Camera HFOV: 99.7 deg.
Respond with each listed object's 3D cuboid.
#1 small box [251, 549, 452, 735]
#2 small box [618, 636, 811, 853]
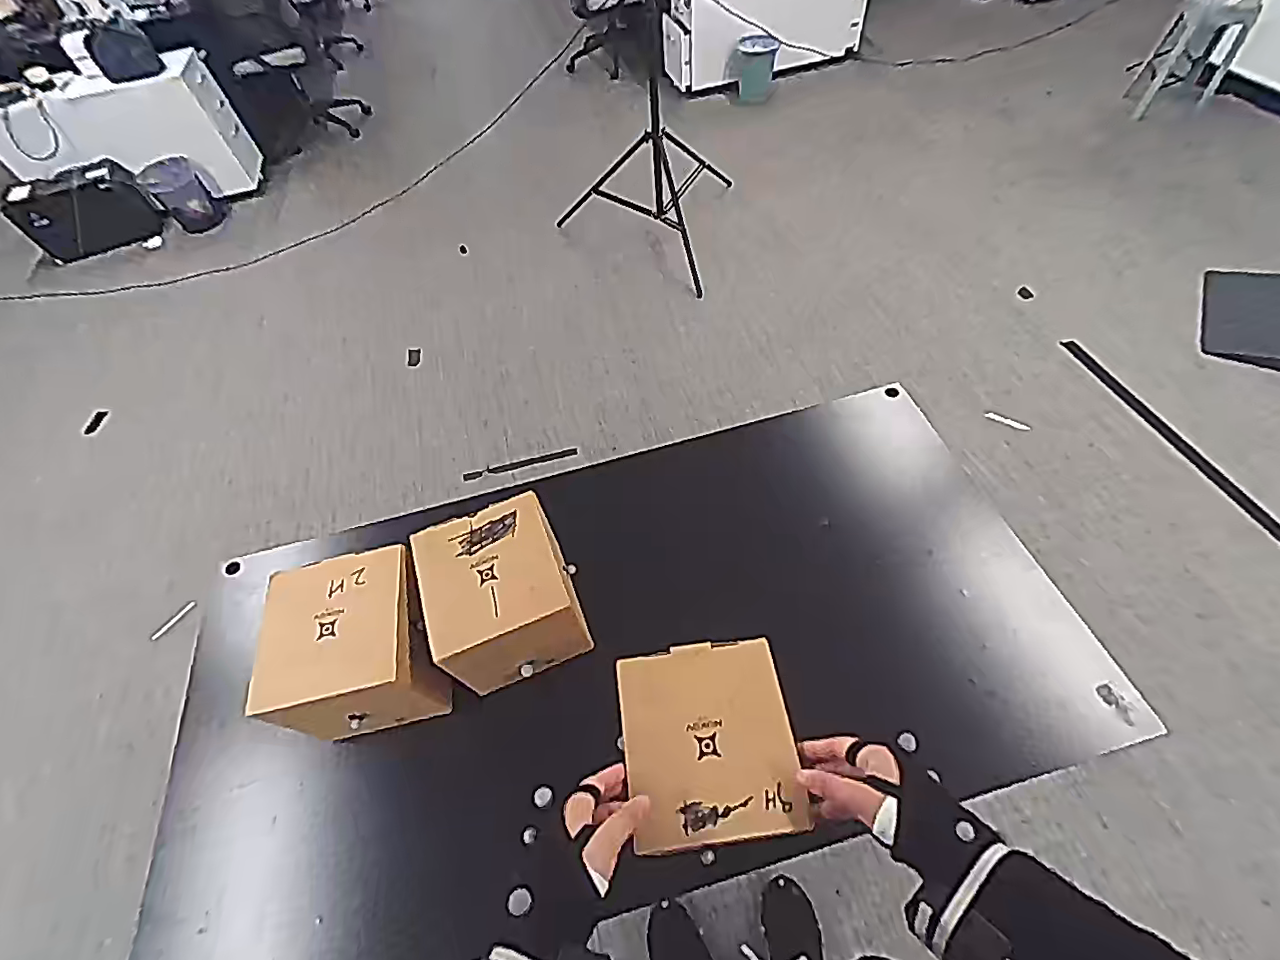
[{"bbox_3d":[-0.355,0.218,0.703,0.168,0.176,0.179,-13,55,-3],"label":"small box"},{"bbox_3d":[0.072,0.295,0.598,0.168,0.176,0.179,-10,54,1],"label":"small box"}]
